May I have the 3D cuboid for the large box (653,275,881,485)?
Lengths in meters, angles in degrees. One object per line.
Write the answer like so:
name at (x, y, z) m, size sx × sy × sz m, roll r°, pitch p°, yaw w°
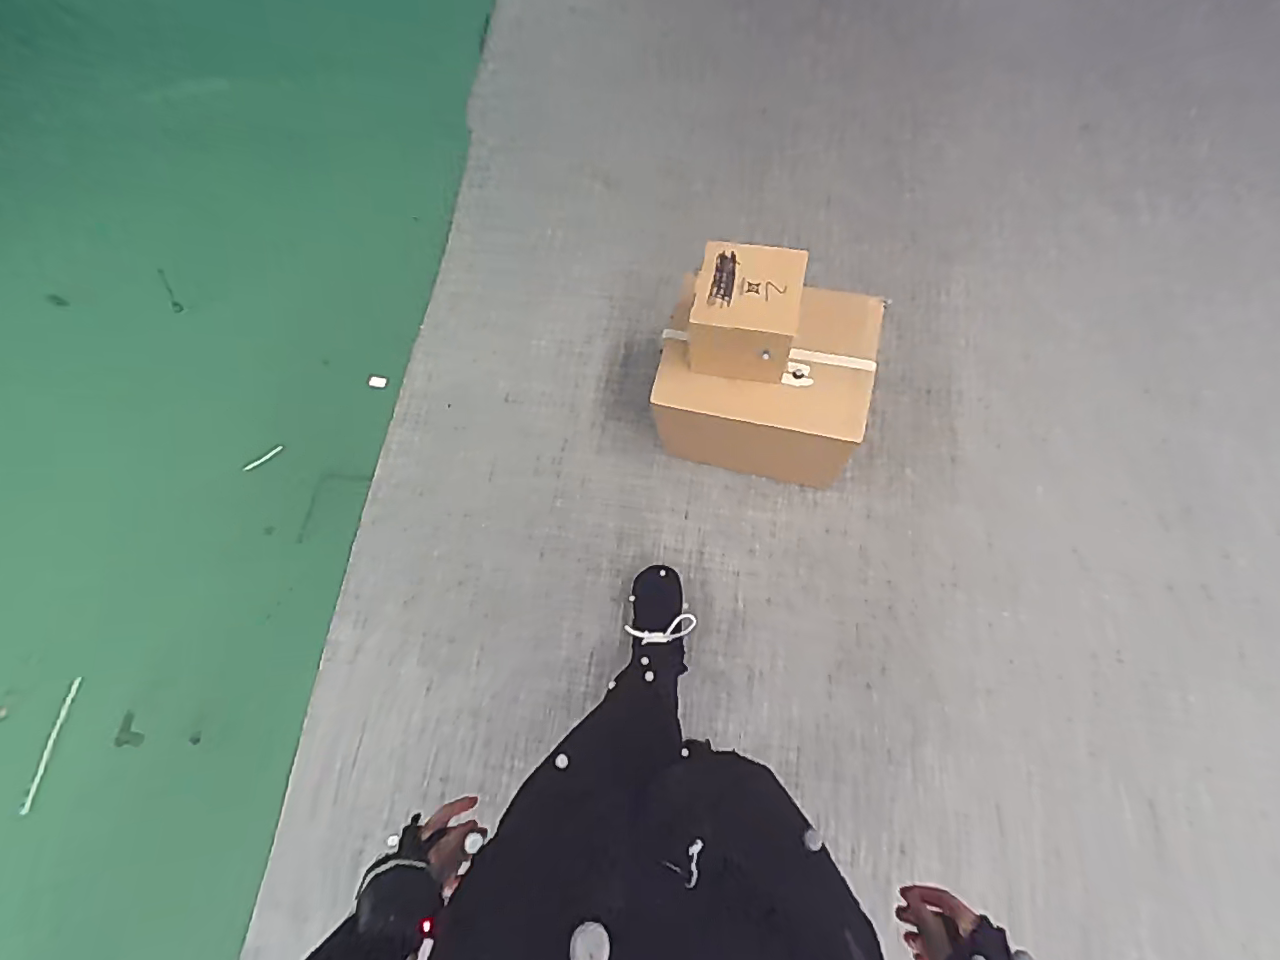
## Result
large box at (0.263, -0.207, 1.196) m, size 0.408 × 0.320 × 0.320 m, roll 12°, pitch 76°, yaw 10°
